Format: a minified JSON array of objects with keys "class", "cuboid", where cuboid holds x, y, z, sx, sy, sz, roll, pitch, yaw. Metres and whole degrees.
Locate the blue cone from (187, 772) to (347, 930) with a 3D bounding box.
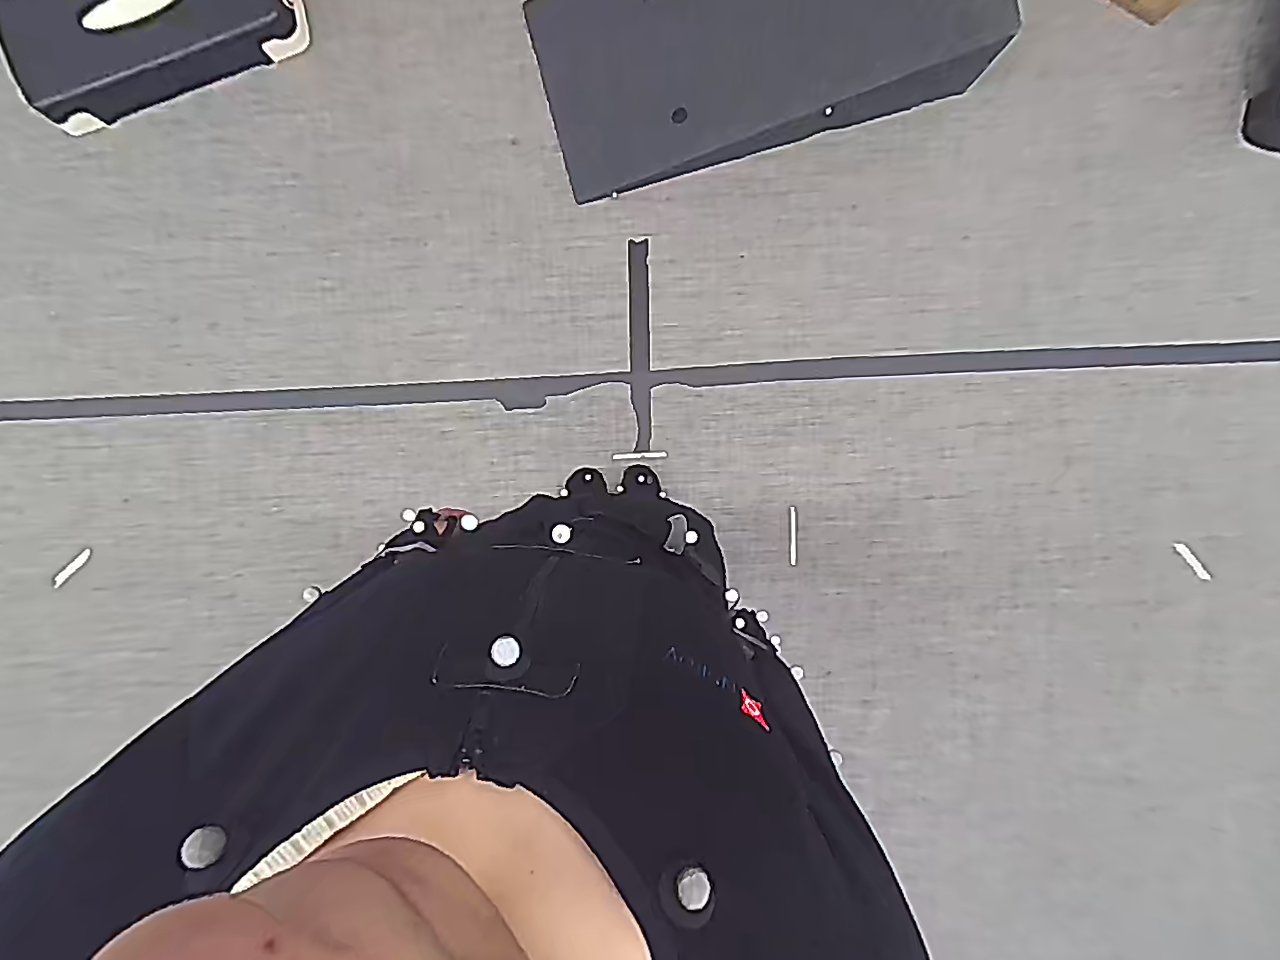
[{"class":"blue cone","cuboid":[-0.876,0.876,1.269,0.192,0.380,0.193,-1,94,2]}]
